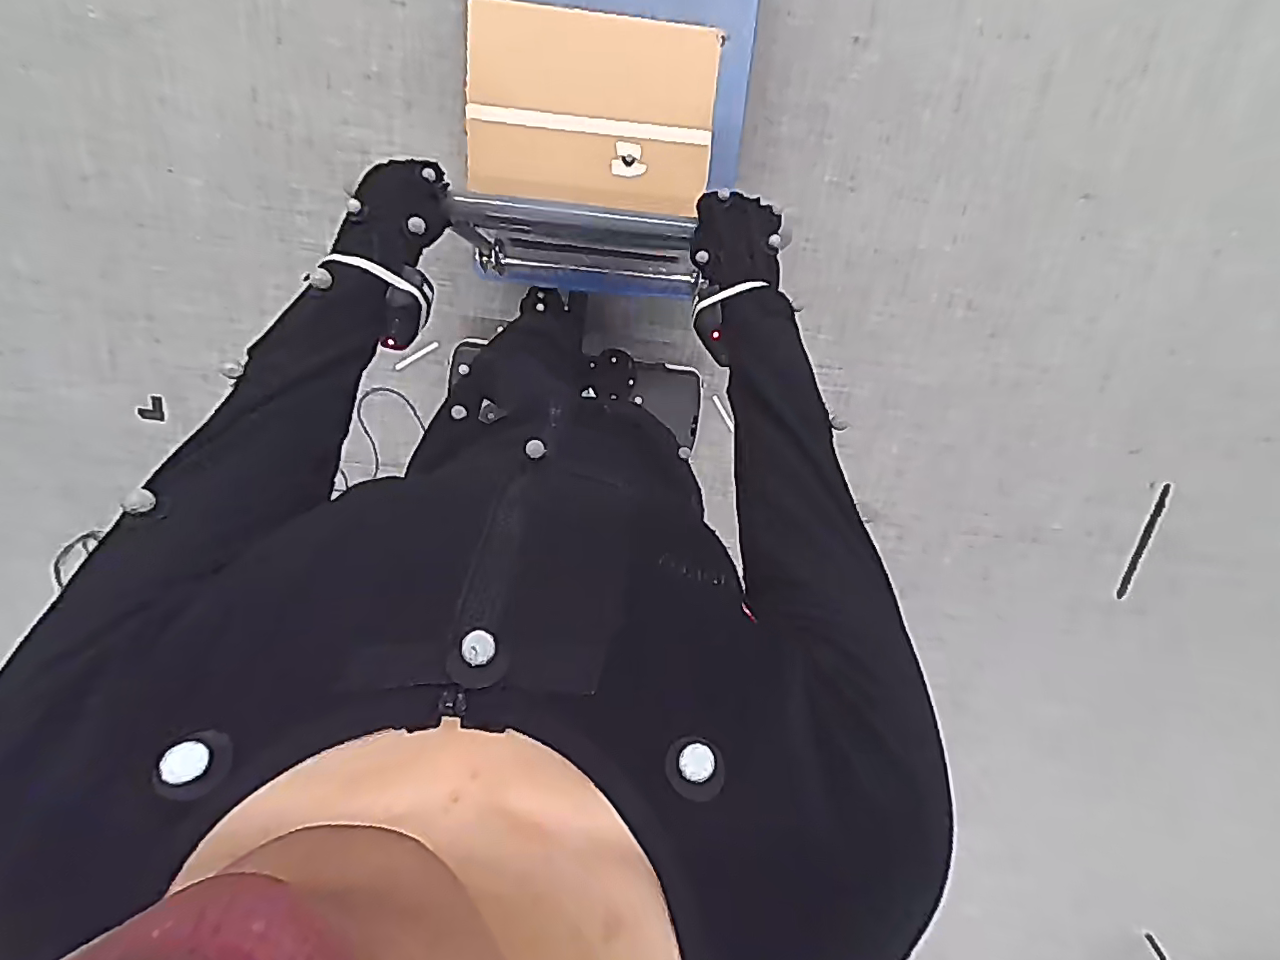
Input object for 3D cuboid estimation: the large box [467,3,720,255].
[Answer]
[{"bbox_3d":[-0.090,-0.624,1.032,0.408,0.320,0.320,4,108,-4],"label":"large box"}]
